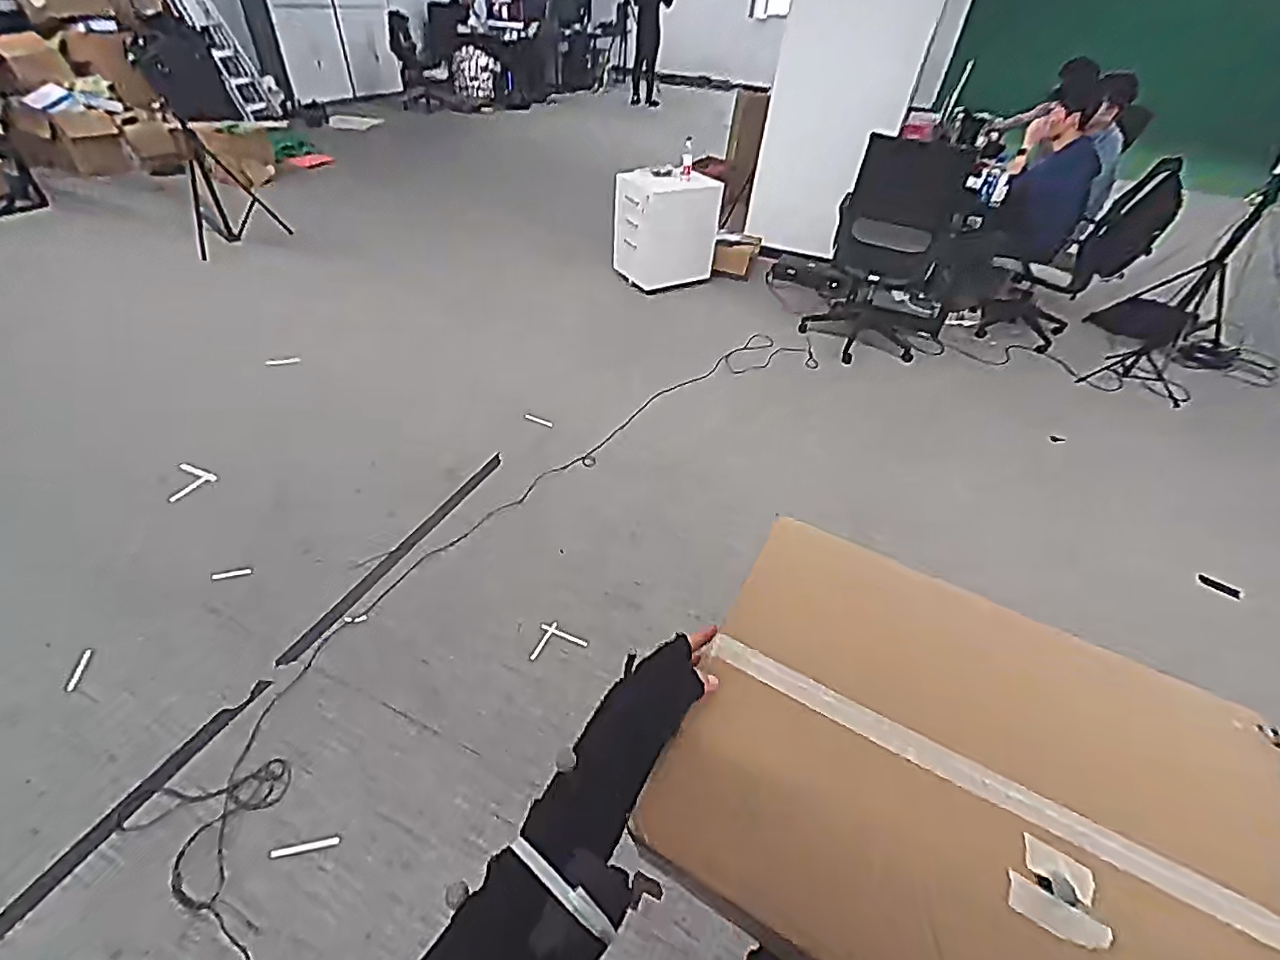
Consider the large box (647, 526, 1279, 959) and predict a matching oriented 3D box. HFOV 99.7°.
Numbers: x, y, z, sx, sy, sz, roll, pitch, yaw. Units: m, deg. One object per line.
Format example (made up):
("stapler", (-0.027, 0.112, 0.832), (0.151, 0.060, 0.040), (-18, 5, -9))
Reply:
("large box", (0.249, 0.313, 0.538), (0.408, 0.320, 0.320), (24, 58, 19))
